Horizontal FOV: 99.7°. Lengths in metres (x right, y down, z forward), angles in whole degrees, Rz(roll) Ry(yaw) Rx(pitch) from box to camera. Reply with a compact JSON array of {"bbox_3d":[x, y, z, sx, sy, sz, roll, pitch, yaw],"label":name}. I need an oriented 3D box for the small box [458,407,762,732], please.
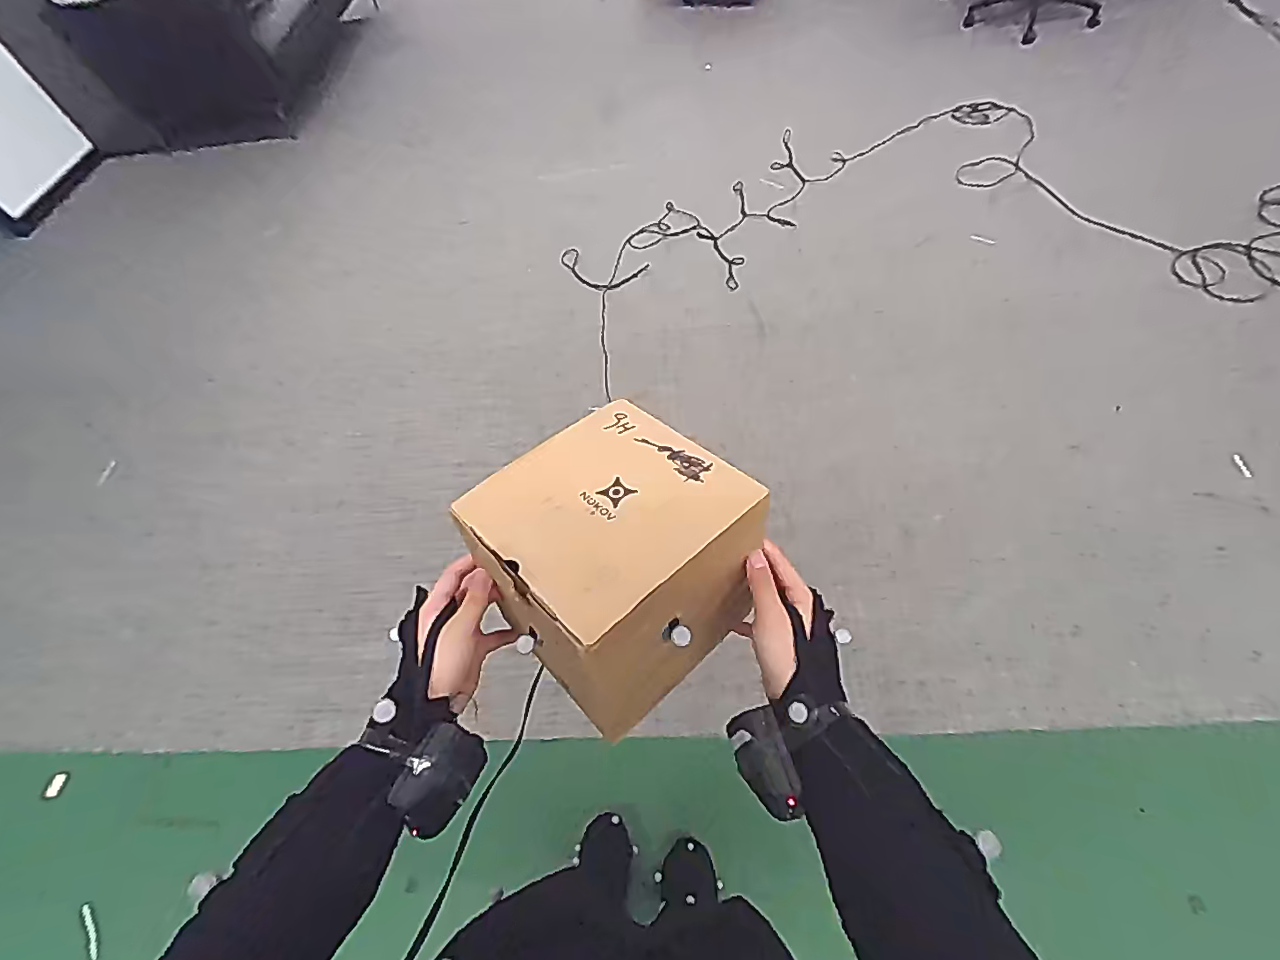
[{"bbox_3d":[-0.017,0.075,0.461,0.179,0.176,0.168,-36,53,-25],"label":"small box"}]
